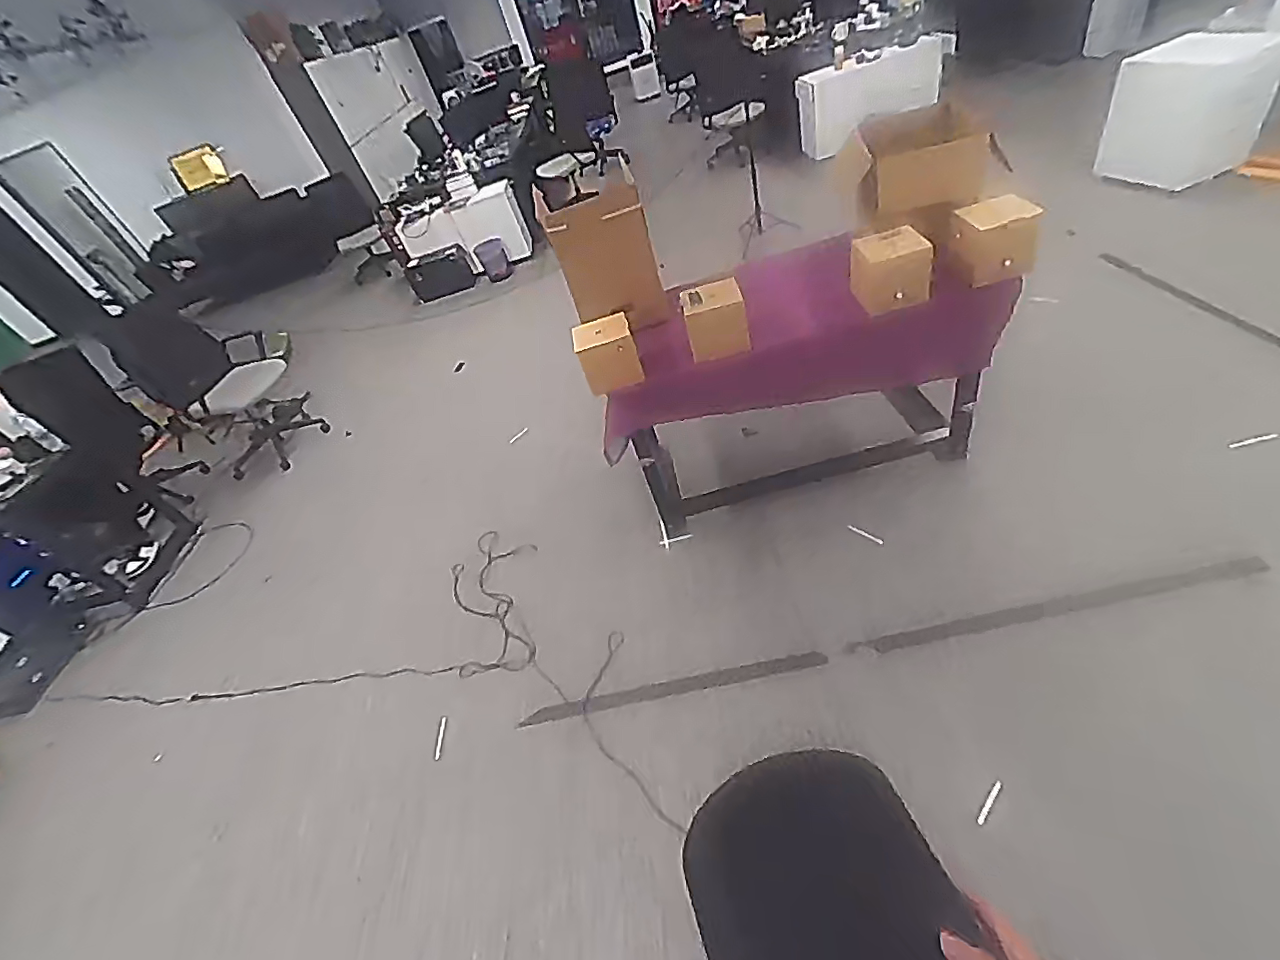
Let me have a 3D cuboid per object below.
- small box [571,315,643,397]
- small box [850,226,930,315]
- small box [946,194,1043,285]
[{"bbox_3d":[-0.104,-0.383,1.692,0.179,0.176,0.168,-17,41,3],"label":"small box"},{"bbox_3d":[0.724,-0.610,1.584,0.168,0.176,0.179,-14,42,9],"label":"small box"},{"bbox_3d":[0.997,-0.682,1.541,0.168,0.176,0.179,-14,41,10],"label":"small box"}]
